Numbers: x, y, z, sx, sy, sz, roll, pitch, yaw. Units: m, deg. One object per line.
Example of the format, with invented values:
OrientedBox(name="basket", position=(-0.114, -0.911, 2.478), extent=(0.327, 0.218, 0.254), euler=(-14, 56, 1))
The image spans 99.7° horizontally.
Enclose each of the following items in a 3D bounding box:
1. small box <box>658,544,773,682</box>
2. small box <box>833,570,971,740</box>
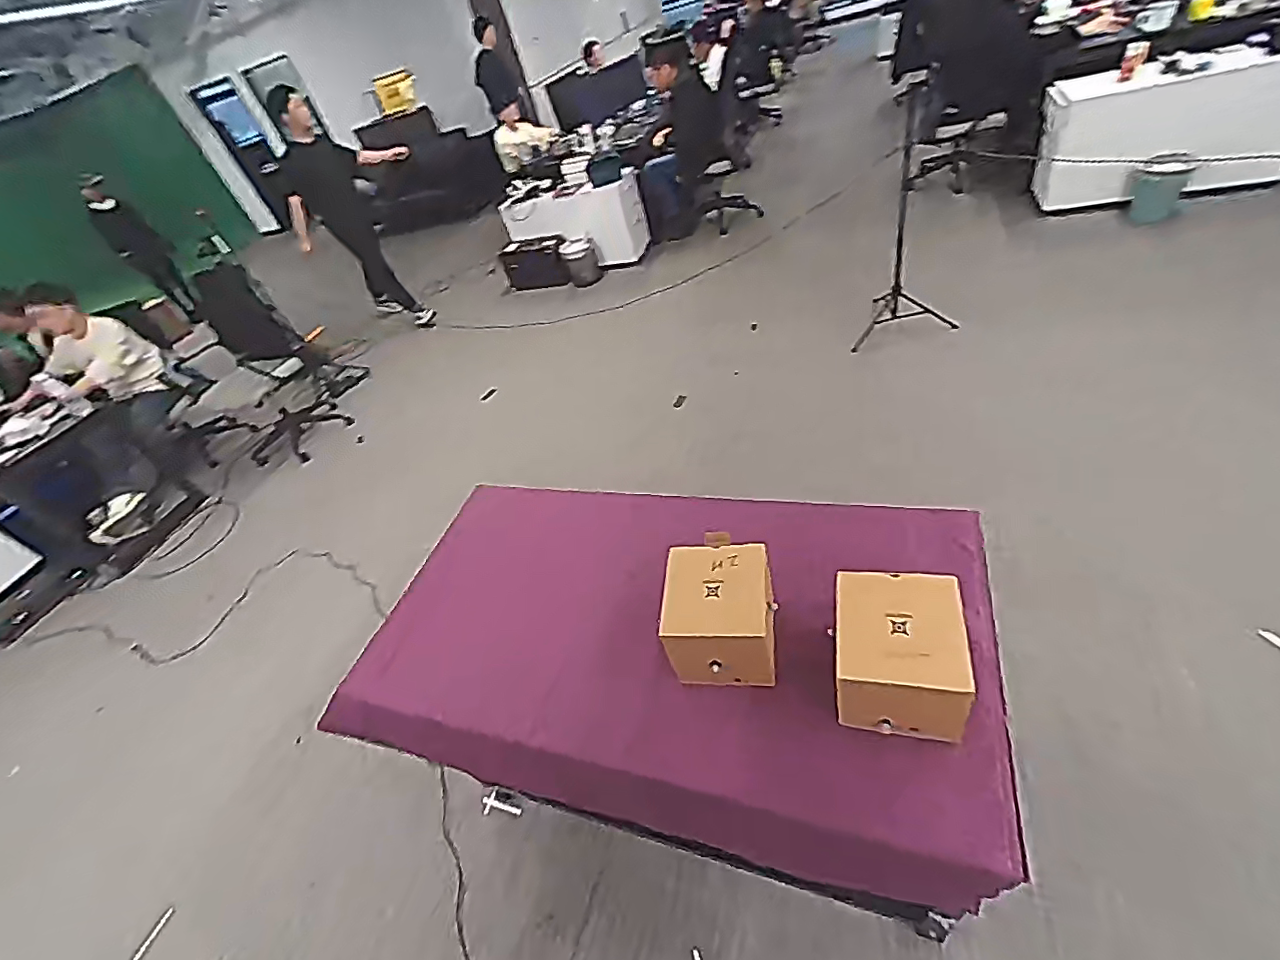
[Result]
OrientedBox(name="small box", position=(0.139, 0.231, 0.935), extent=(0.168, 0.176, 0.179), euler=(-4, 44, 16))
OrientedBox(name="small box", position=(0.381, 0.260, 0.814), extent=(0.168, 0.176, 0.179), euler=(-1, 45, 21))
